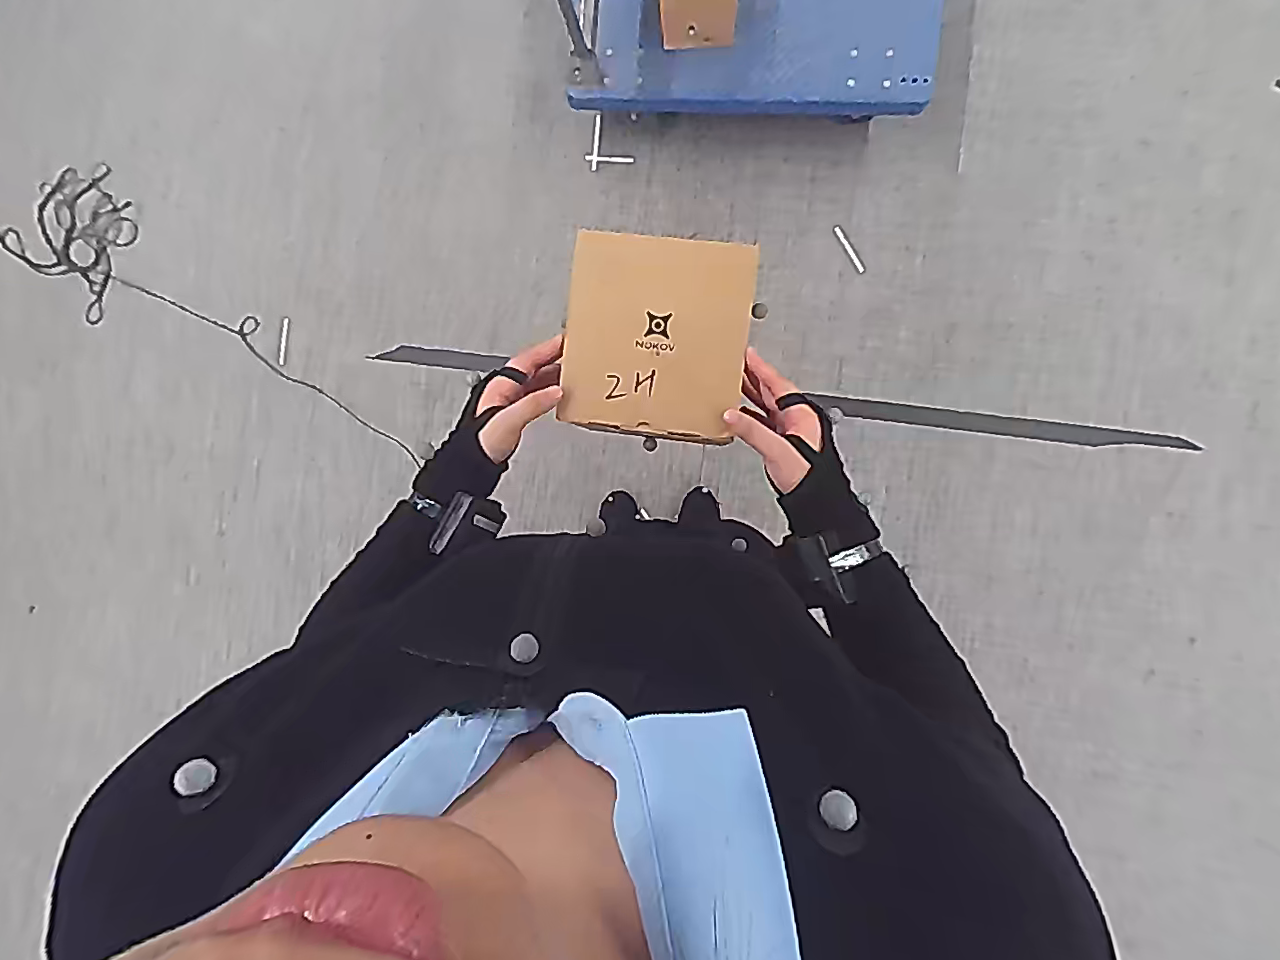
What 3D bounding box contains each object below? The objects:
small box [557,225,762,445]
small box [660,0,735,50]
[{"bbox_3d":[0.022,-0.134,0.560,0.168,0.176,0.179,8,93,5],"label":"small box"},{"bbox_3d":[0.129,-1.113,1.208,0.168,0.176,0.179,2,91,6],"label":"small box"}]
